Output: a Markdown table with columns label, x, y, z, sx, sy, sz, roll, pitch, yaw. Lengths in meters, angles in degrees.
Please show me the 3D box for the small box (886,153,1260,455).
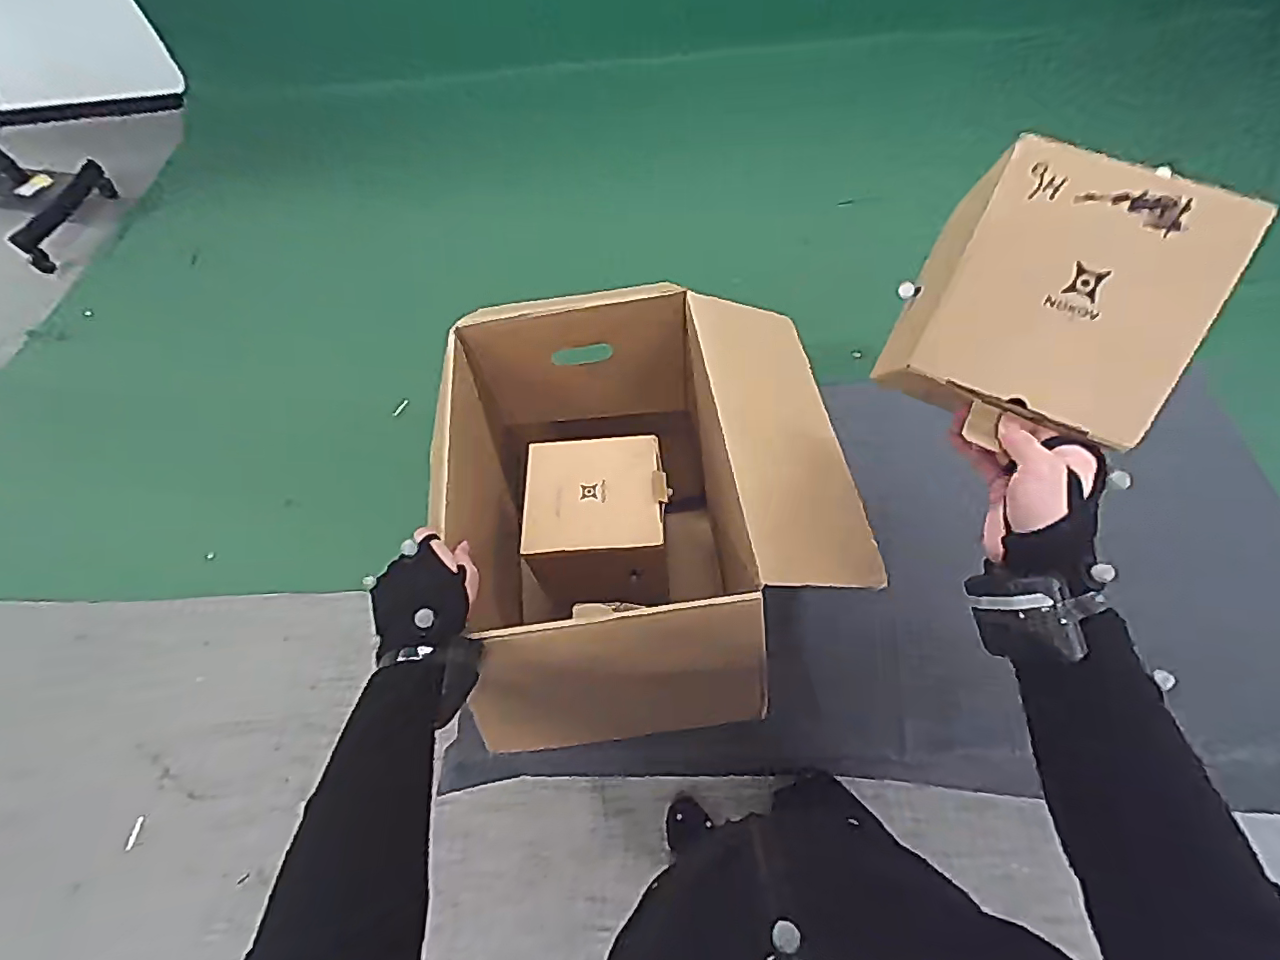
| label | x | y | z | sx | sy | sz | roll | pitch | yaw |
| --- | --- | --- | --- | --- | --- | --- | --- | --- | --- |
| small box | 0.336 | -0.137 | 0.472 | 0.168 | 0.176 | 0.179 | 24 | 102 | 11 |
